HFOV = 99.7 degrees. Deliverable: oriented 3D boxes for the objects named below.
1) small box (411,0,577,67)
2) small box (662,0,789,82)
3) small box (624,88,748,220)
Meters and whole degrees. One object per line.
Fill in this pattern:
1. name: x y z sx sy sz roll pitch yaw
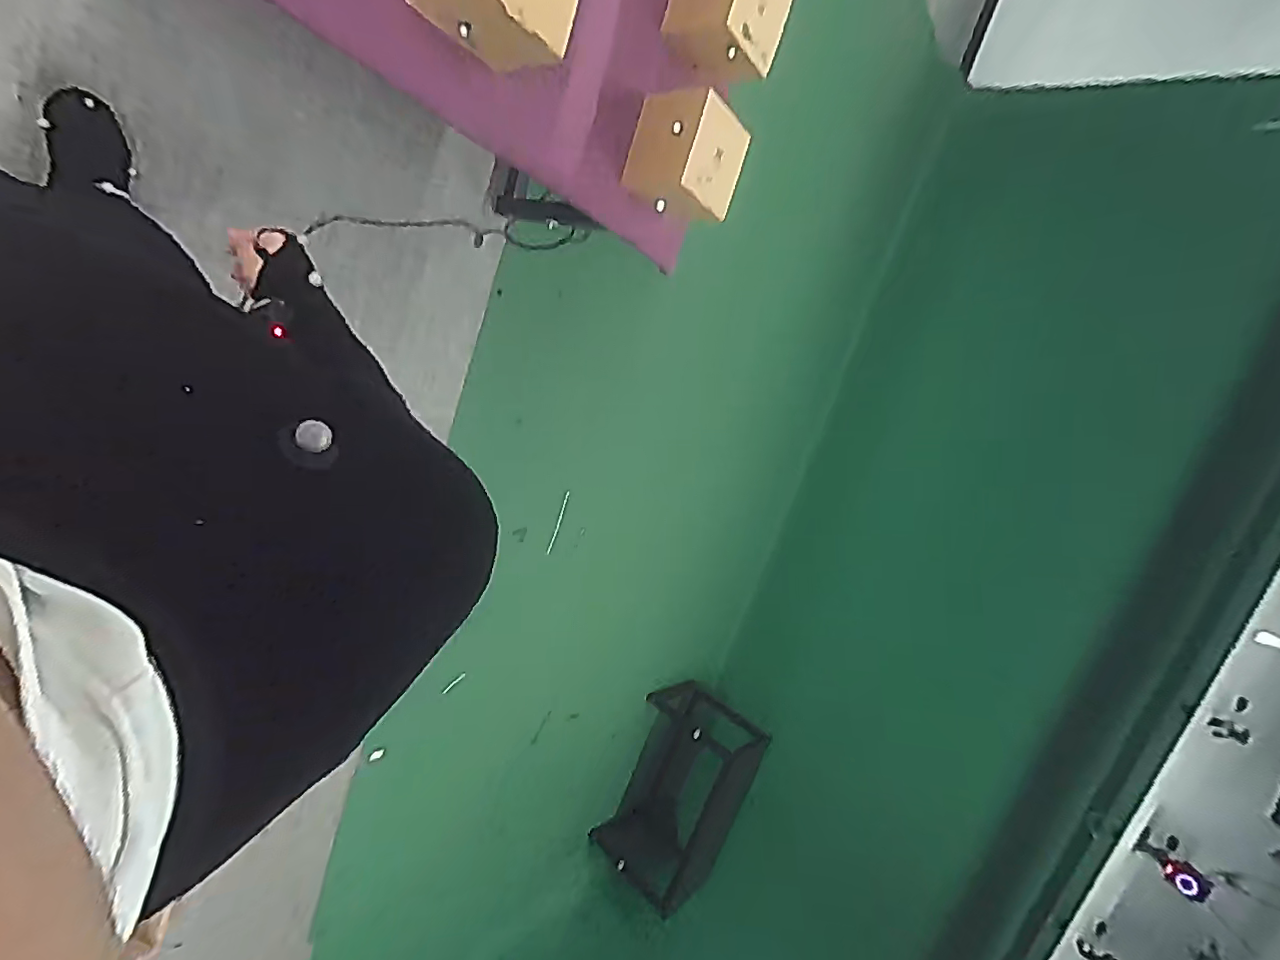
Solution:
1. small box: -0.197 -0.716 0.746 0.168 0.176 0.179 4 108 -52
2. small box: 0.169 -0.928 1.066 0.168 0.176 0.179 4 107 -51
3. small box: 0.092 -0.667 1.123 0.168 0.176 0.179 8 104 -51
